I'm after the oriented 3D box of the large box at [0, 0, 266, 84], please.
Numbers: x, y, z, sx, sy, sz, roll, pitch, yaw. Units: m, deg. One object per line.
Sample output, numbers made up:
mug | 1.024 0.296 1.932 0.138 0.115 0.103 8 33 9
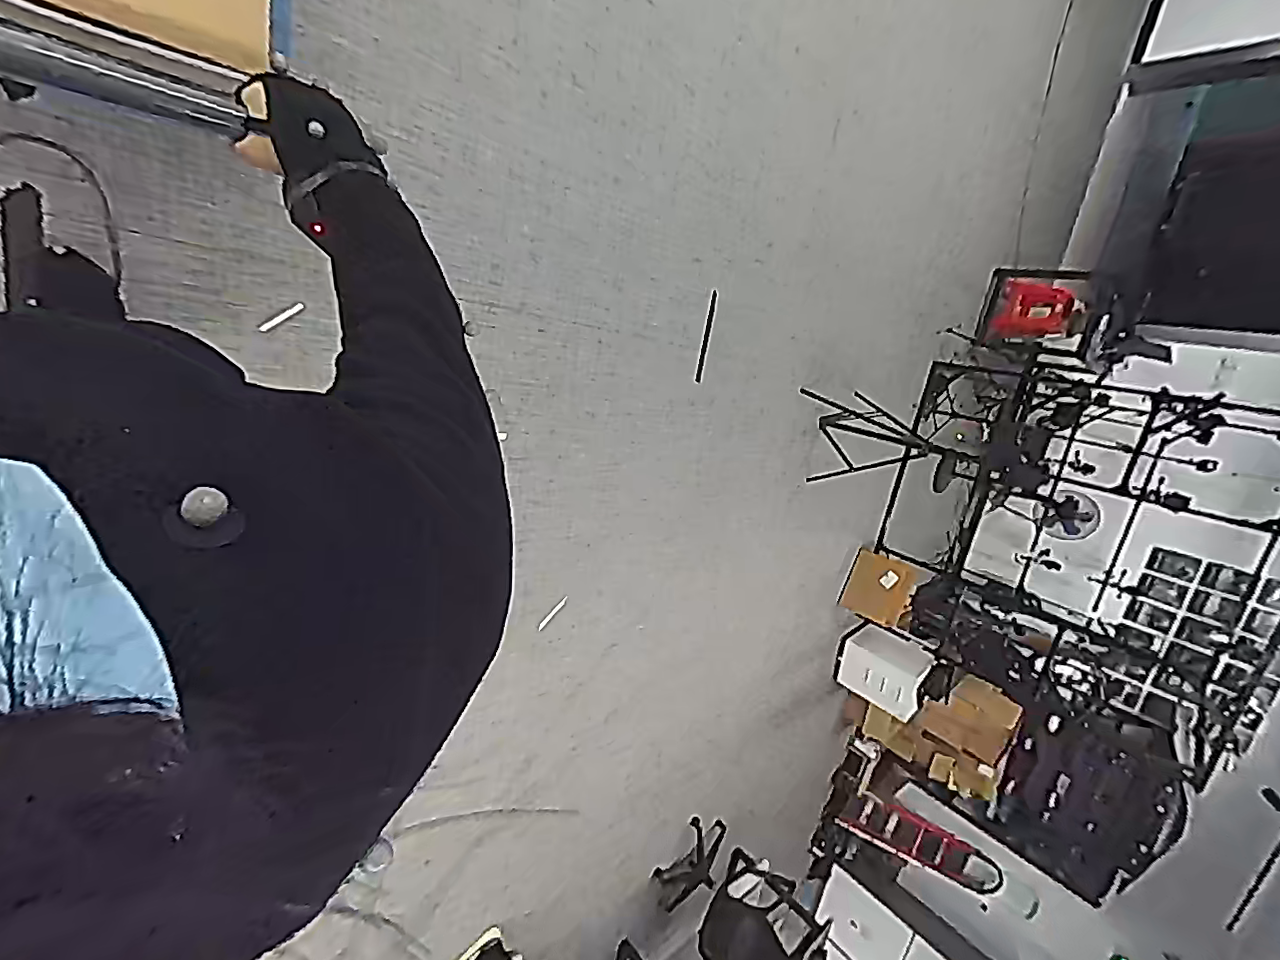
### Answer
large box | -0.743 -0.759 0.674 0.408 0.320 0.320 -7 119 -44
